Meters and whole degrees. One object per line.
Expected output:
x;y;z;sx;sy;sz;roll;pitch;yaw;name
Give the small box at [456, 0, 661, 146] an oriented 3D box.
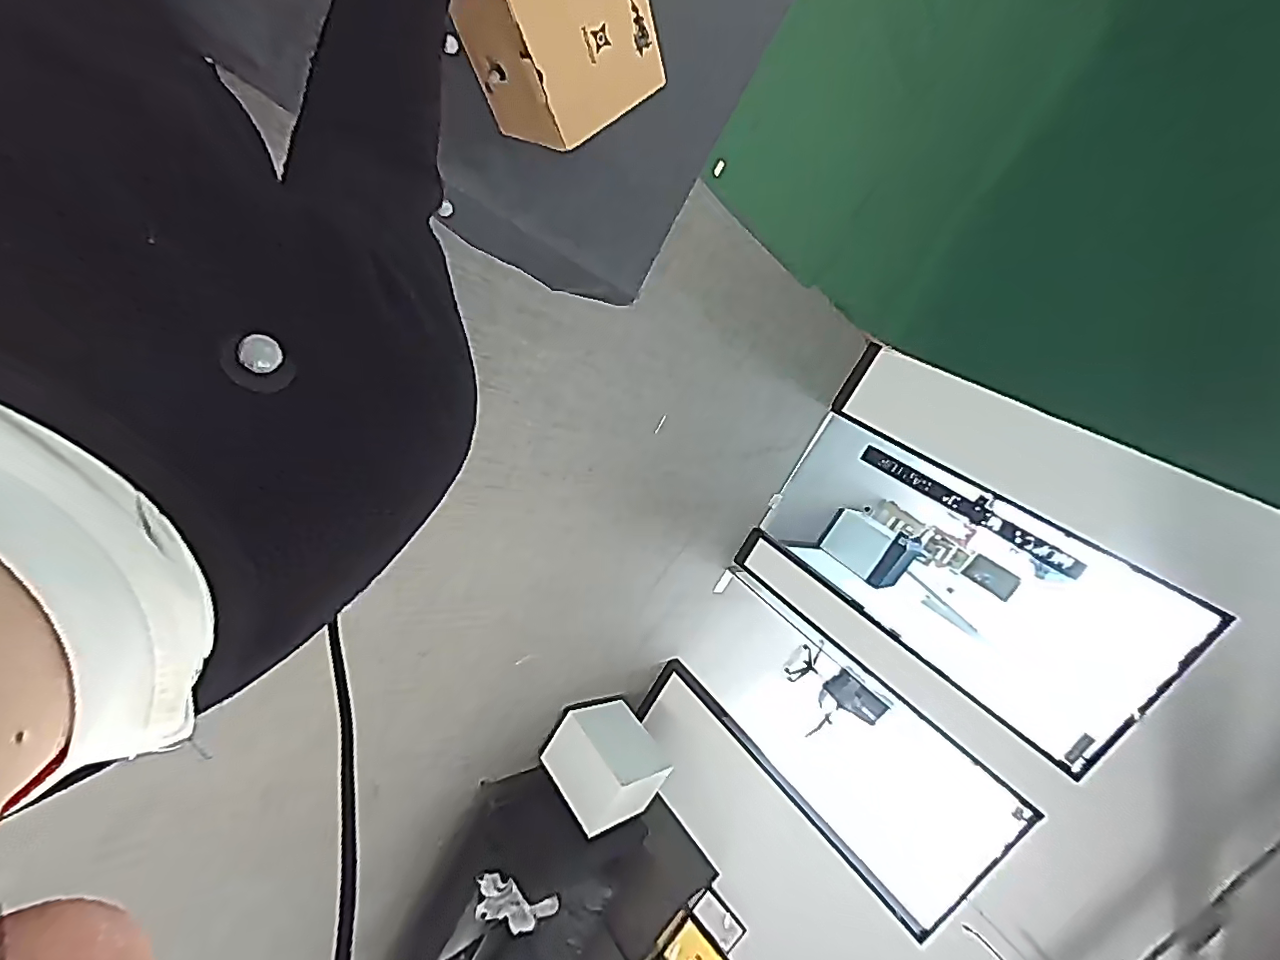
-0.106;-0.555;0.679;0.179;0.176;0.168;-39;143;-12;small box
